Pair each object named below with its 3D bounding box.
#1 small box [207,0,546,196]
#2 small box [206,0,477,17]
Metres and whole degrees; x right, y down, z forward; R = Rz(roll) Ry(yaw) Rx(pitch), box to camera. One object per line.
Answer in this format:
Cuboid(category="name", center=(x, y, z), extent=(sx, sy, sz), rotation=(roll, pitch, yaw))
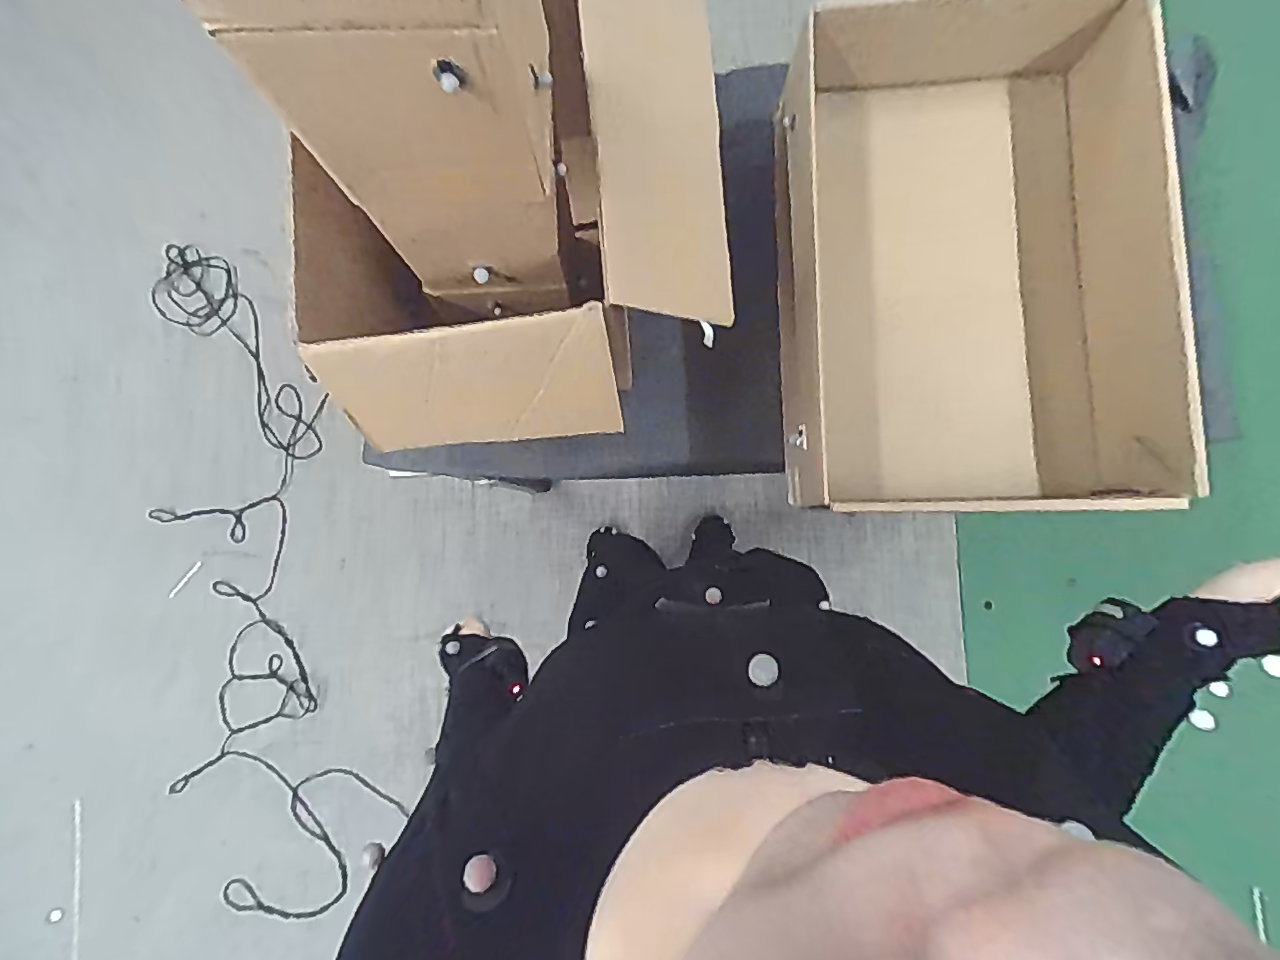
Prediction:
Cuboid(category="small box", center=(-0.172, -0.340, 0.408), extent=(0.179, 0.176, 0.168), rotation=(-2, 84, -1))
Cuboid(category="small box", center=(-0.171, -0.359, 0.245), extent=(0.179, 0.176, 0.168), rotation=(-1, 85, -1))
